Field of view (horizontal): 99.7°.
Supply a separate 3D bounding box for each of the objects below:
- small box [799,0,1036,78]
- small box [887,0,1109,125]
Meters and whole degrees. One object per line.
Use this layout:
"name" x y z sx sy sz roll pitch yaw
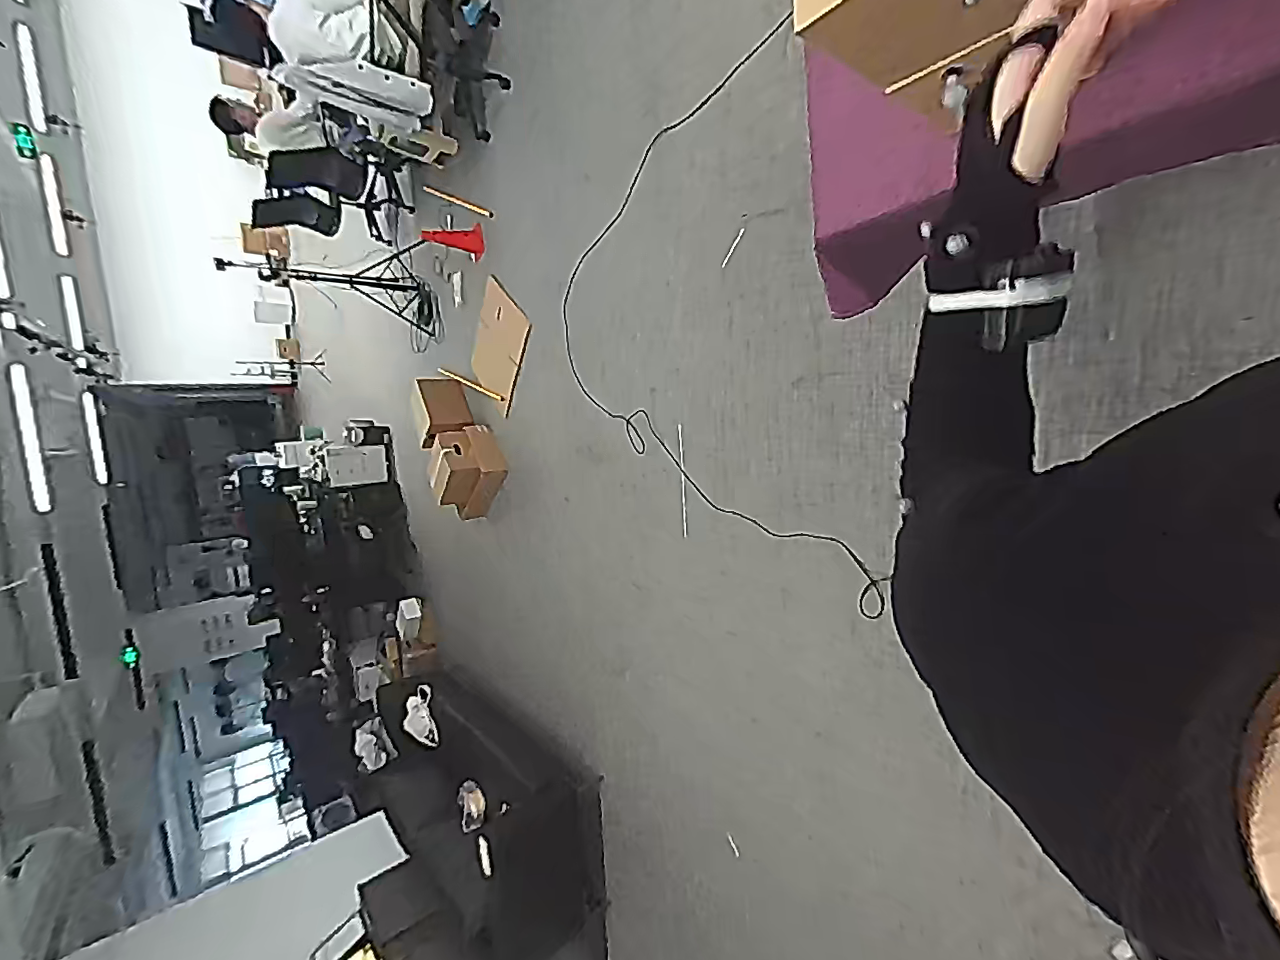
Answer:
"small box" 0.267 -0.518 0.495 0.179 0.176 0.168 8 103 51
"small box" 0.394 -0.538 0.596 0.168 0.176 0.179 6 101 51
